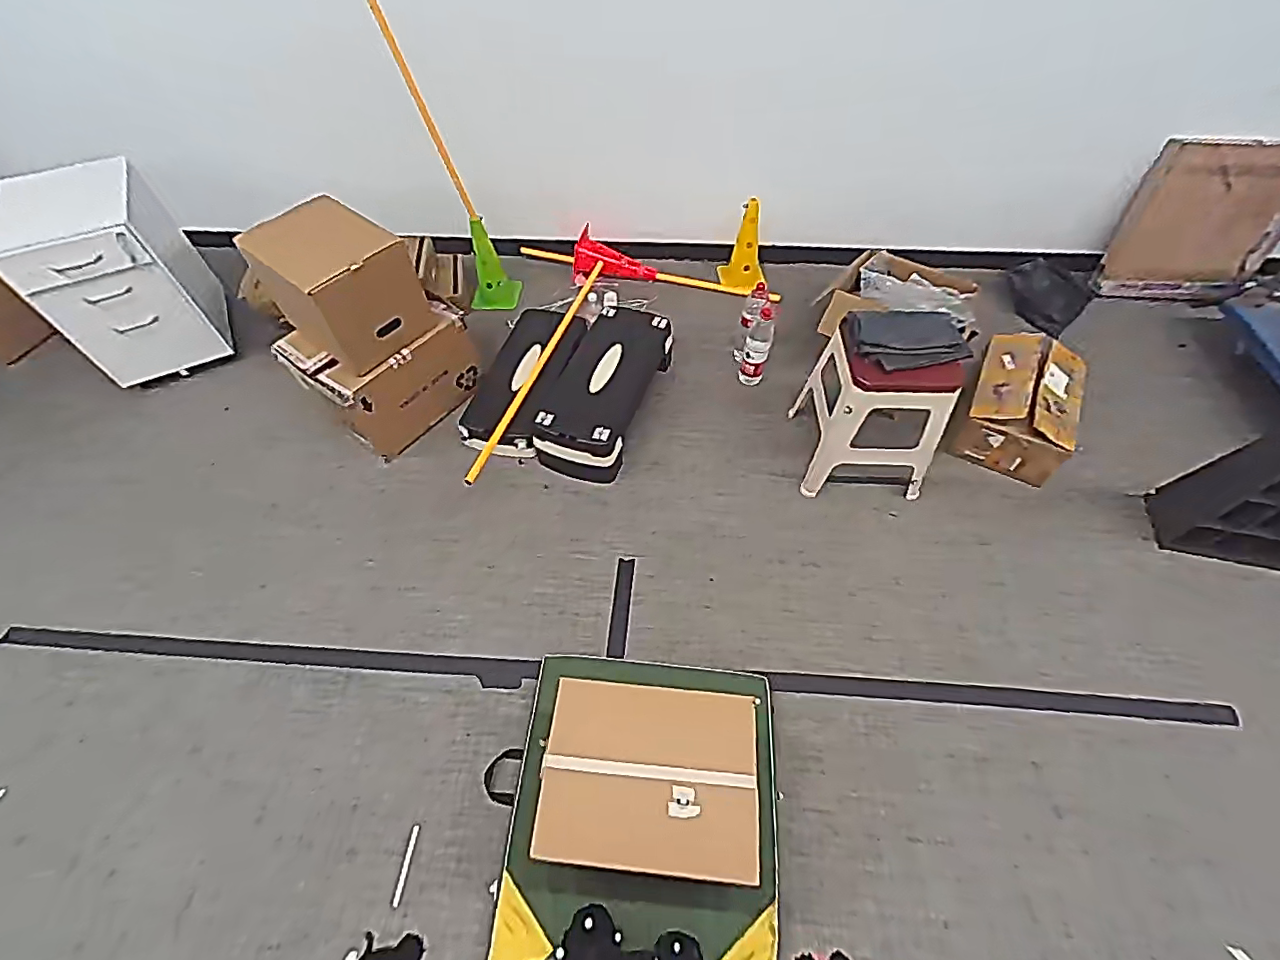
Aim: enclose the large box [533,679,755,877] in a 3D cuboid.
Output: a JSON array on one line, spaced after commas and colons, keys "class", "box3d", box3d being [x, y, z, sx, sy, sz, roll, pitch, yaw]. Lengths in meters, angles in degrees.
[{"class": "large box", "box3d": [0.014, 0.643, 1.160, 0.408, 0.320, 0.320, 5, 55, 3]}]
